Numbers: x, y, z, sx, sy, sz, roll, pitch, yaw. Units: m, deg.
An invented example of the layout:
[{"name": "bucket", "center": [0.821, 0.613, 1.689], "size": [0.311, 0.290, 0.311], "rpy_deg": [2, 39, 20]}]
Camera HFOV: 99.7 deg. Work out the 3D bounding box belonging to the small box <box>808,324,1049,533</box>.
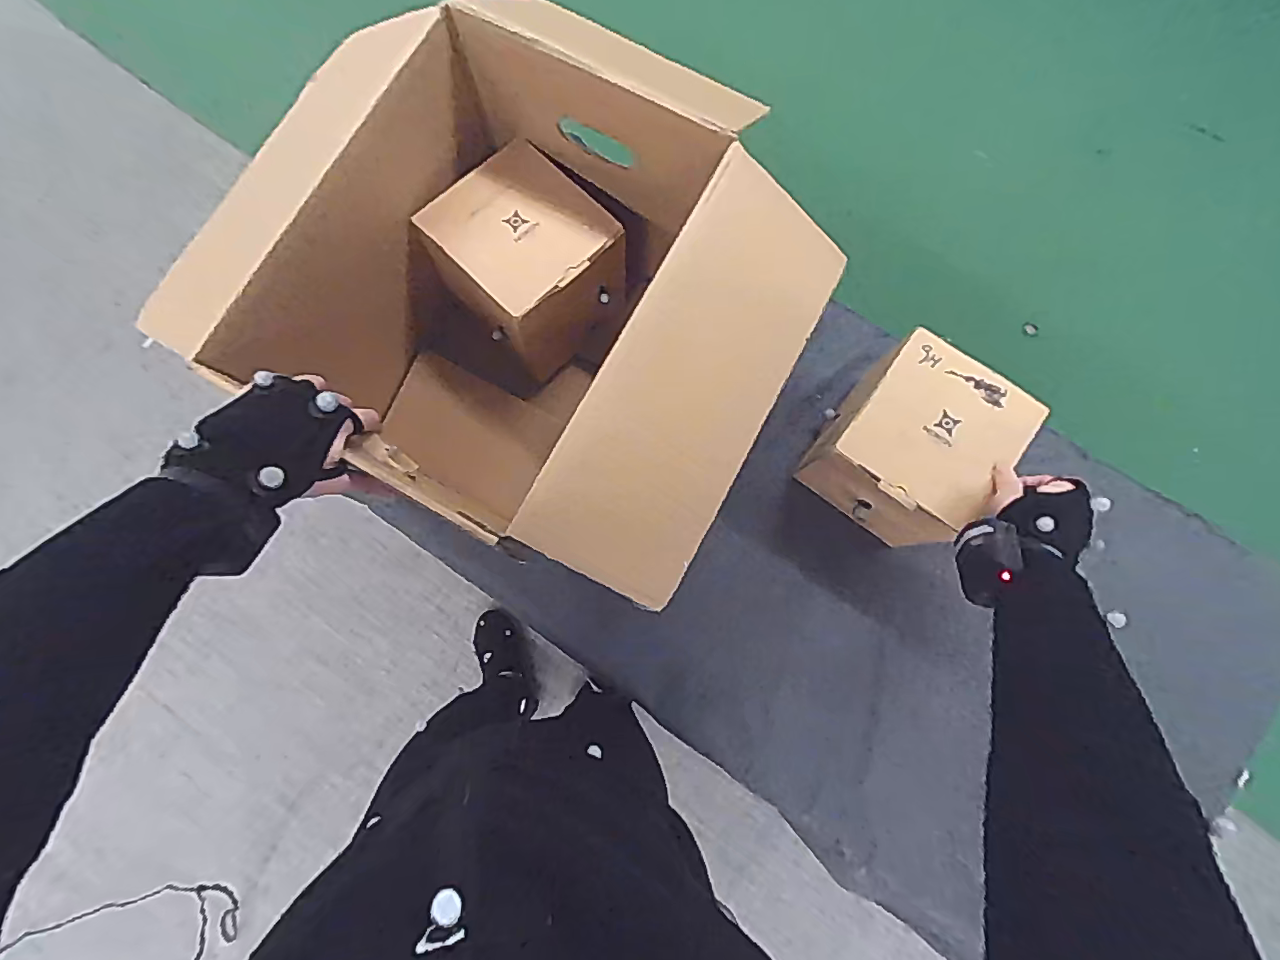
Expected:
[{"name": "small box", "center": [0.329, -0.048, 0.662], "size": [0.168, 0.176, 0.179], "rpy_deg": [37, 84, 5]}]
